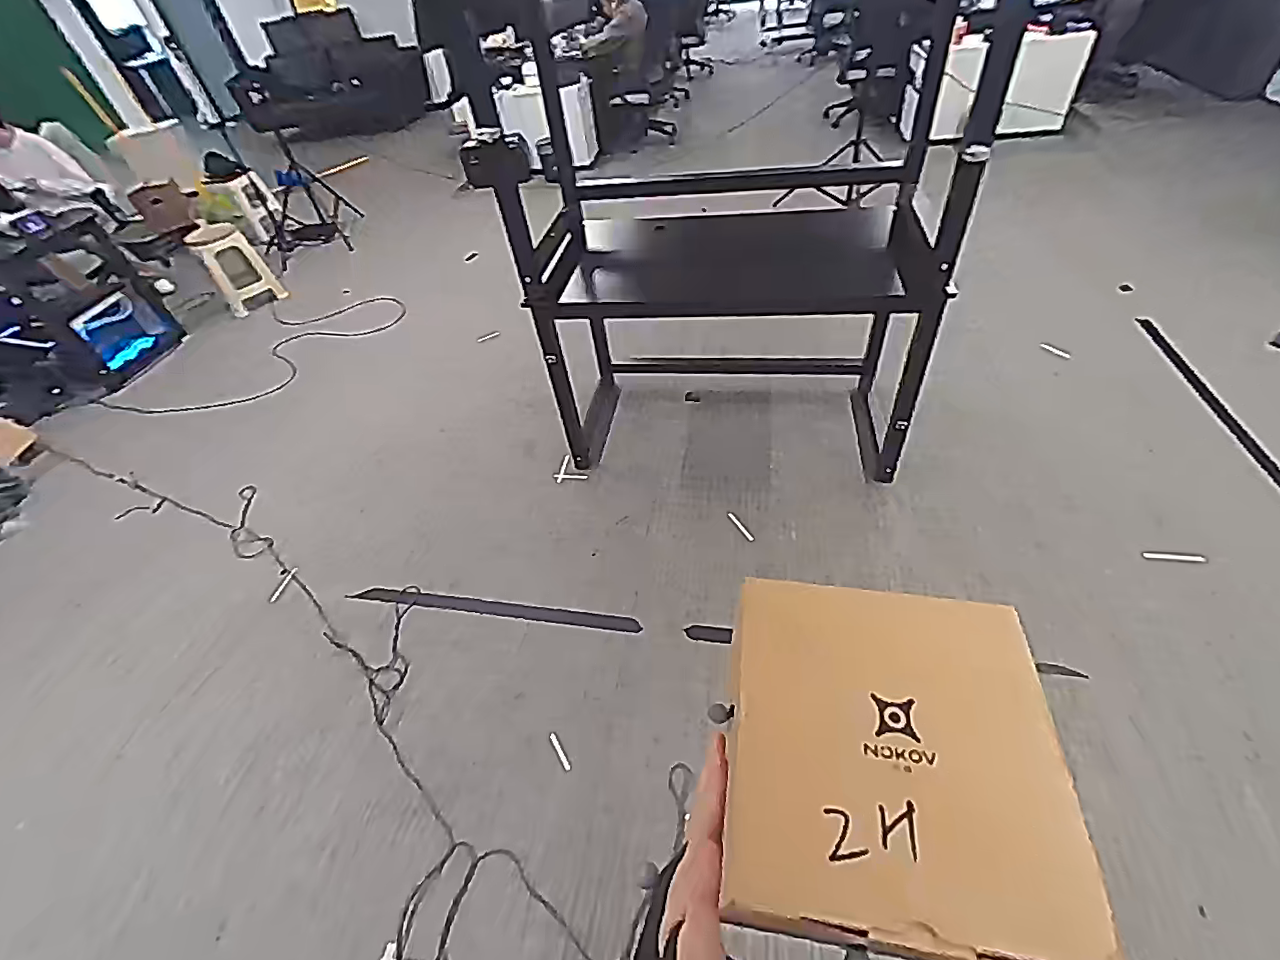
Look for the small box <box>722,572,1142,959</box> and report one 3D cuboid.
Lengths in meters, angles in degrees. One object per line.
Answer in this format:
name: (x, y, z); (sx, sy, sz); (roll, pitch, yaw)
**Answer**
small box: (0.143, 0.184, 0.343); (0.168, 0.176, 0.179); (5, 50, 9)
